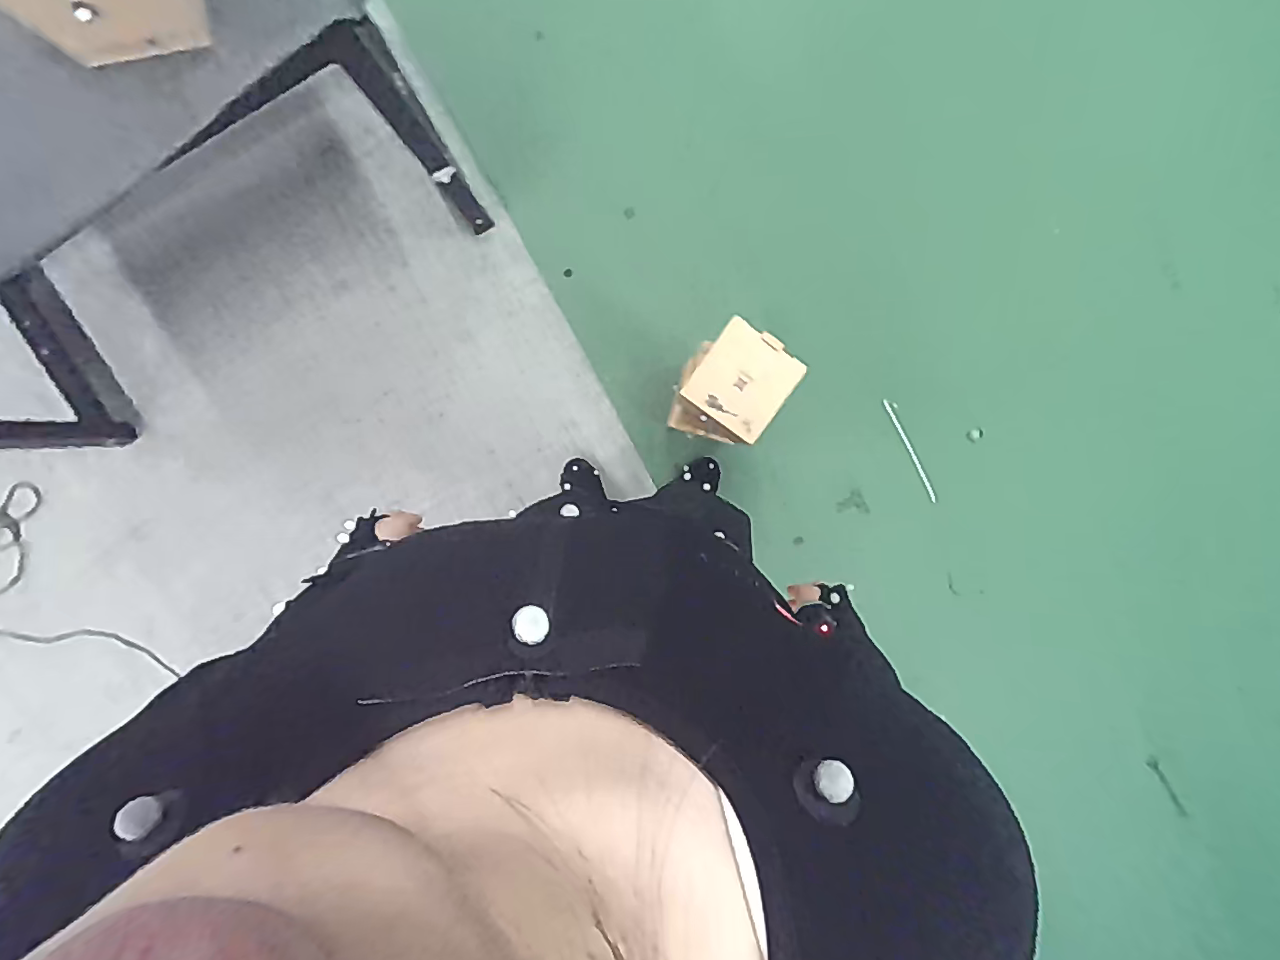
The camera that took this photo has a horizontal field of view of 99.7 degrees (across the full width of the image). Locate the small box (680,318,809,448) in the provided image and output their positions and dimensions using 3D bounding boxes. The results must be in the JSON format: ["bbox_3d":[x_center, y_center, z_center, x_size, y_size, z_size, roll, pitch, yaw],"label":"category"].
[{"bbox_3d":[0.189,-0.180,1.048,0.168,0.176,0.179,36,94,-3],"label":"small box"}]

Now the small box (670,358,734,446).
[{"bbox_3d":[0.177,-0.193,1.377,0.168,0.176,0.179,17,94,-1],"label":"small box"}]

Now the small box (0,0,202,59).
[{"bbox_3d":[-0.639,-0.613,0.602,0.168,0.176,0.179,-9,93,1],"label":"small box"}]
